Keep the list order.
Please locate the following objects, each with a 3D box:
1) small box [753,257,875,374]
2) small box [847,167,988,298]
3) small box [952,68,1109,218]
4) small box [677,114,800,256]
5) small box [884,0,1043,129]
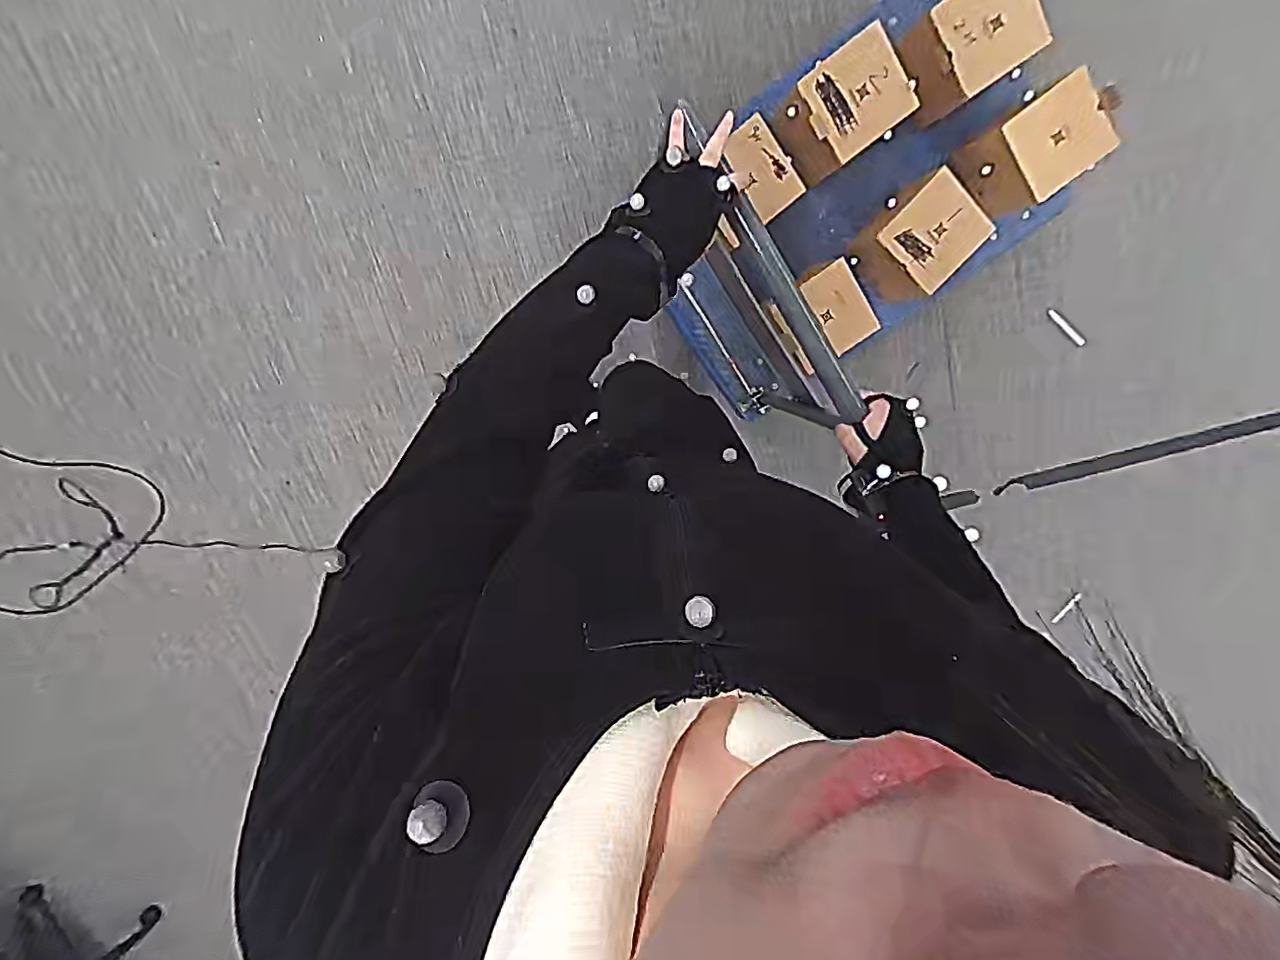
[{"bbox_3d":[0.361,-0.349,1.168,0.179,0.176,0.168,-34,105,6],"label":"small box"},{"bbox_3d":[0.565,-0.503,1.135,0.168,0.176,0.179,42,98,-12],"label":"small box"},{"bbox_3d":[0.779,-0.669,1.103,0.179,0.176,0.168,-37,103,7],"label":"small box"},{"bbox_3d":[0.188,-0.580,1.094,0.179,0.176,0.168,-37,104,7],"label":"small box"},{"bbox_3d":[0.616,-0.831,1.049,0.179,0.176,0.168,-32,104,7],"label":"small box"}]
